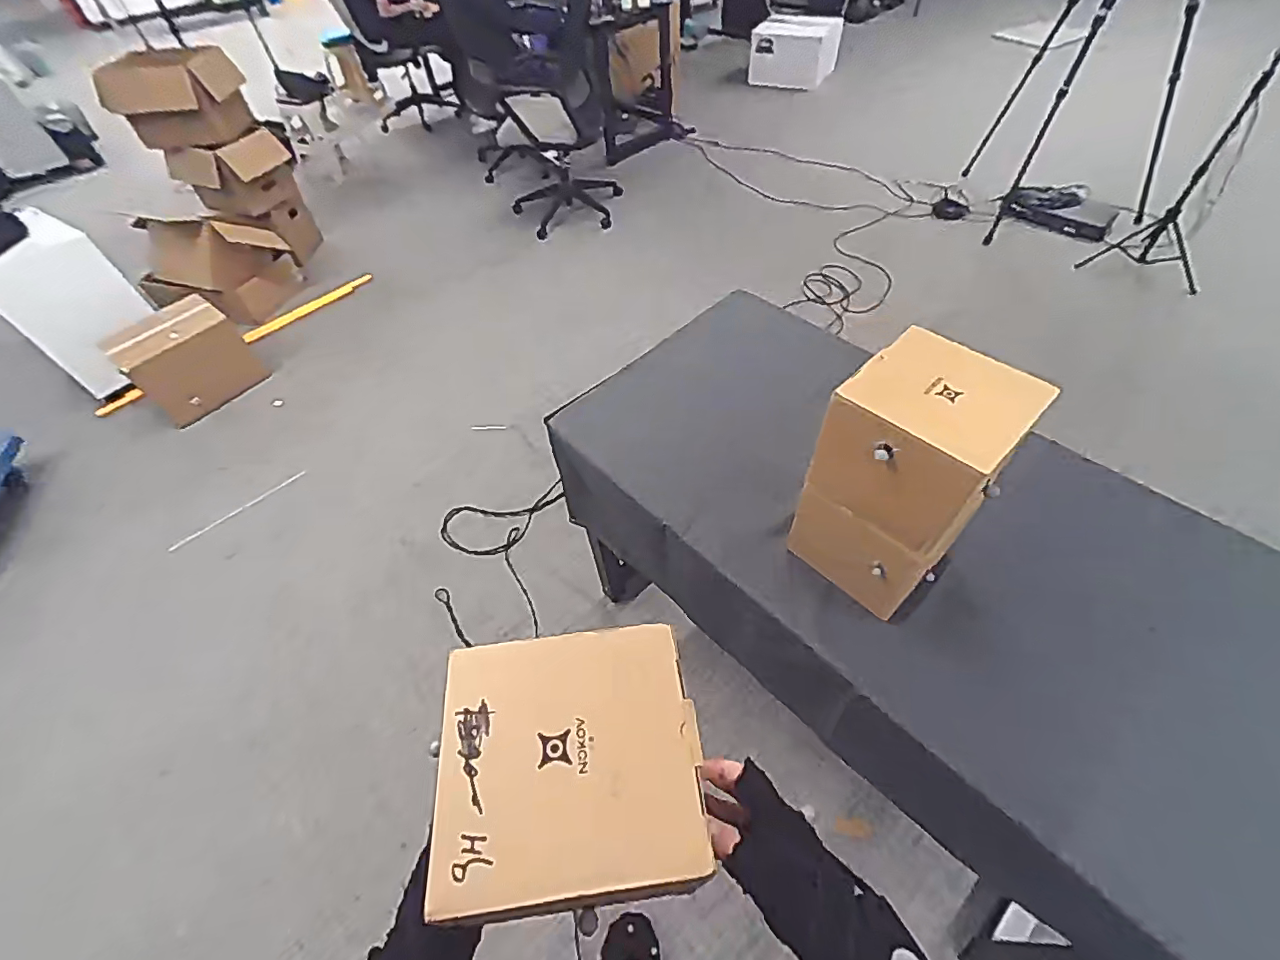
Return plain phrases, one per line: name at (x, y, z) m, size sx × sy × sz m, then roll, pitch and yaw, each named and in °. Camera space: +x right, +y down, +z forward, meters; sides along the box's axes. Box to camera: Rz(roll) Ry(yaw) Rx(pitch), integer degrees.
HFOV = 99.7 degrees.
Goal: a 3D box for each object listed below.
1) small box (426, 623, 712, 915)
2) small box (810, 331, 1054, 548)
small box at (-0.052, 0.235, 0.438) m, size 0.179 × 0.176 × 0.168 m, roll -5°, pitch 49°, yaw -5°
small box at (0.335, -0.042, 0.655) m, size 0.168 × 0.176 × 0.179 m, roll -38°, pitch 57°, yaw -23°
